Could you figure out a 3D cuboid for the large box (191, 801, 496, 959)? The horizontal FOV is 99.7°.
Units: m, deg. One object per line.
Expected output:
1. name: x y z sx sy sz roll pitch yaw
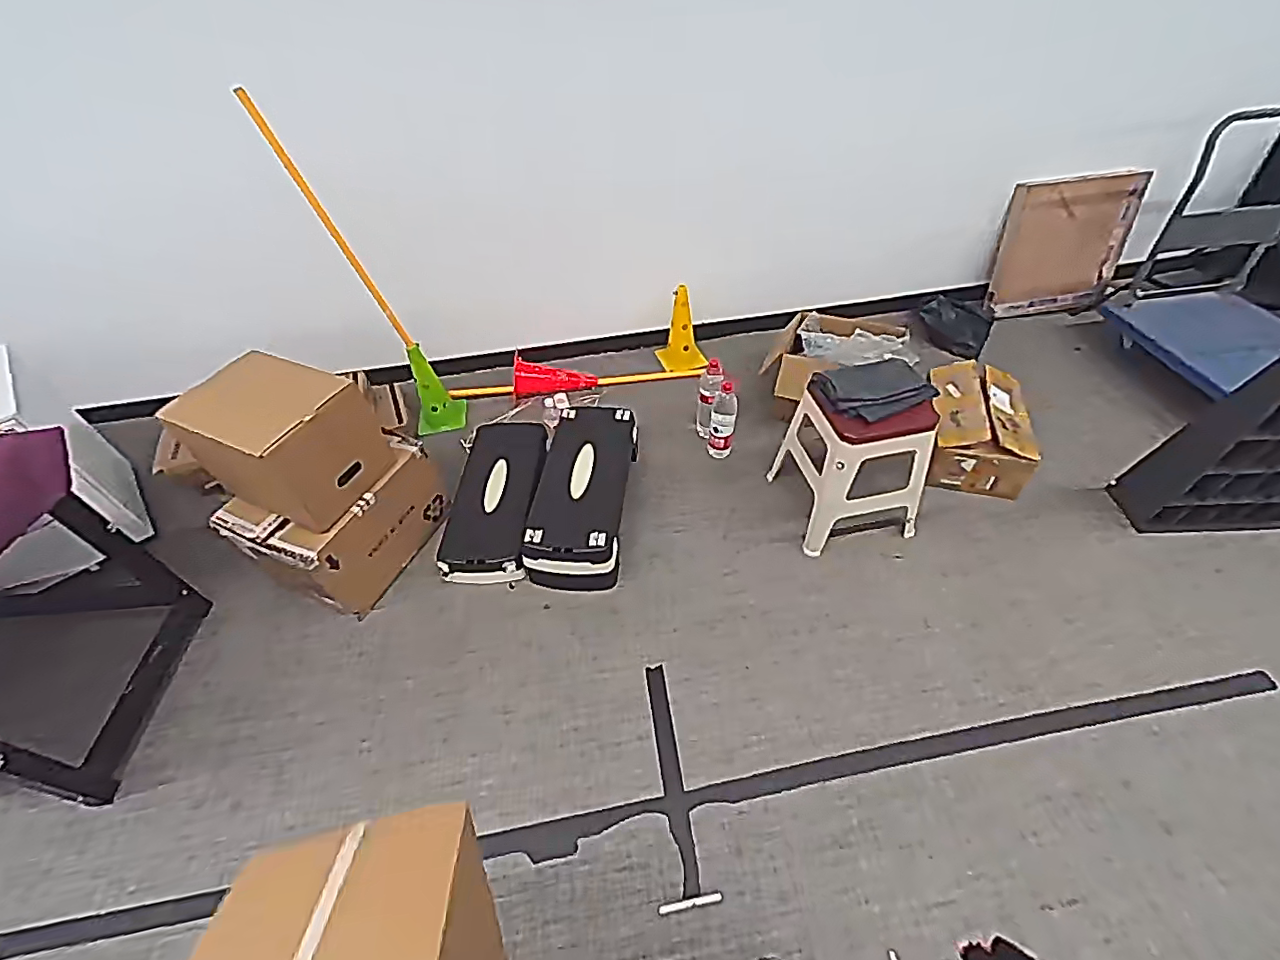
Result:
1. large box: -0.365 0.704 0.661 0.320 0.320 0.408 -11 13 -9
